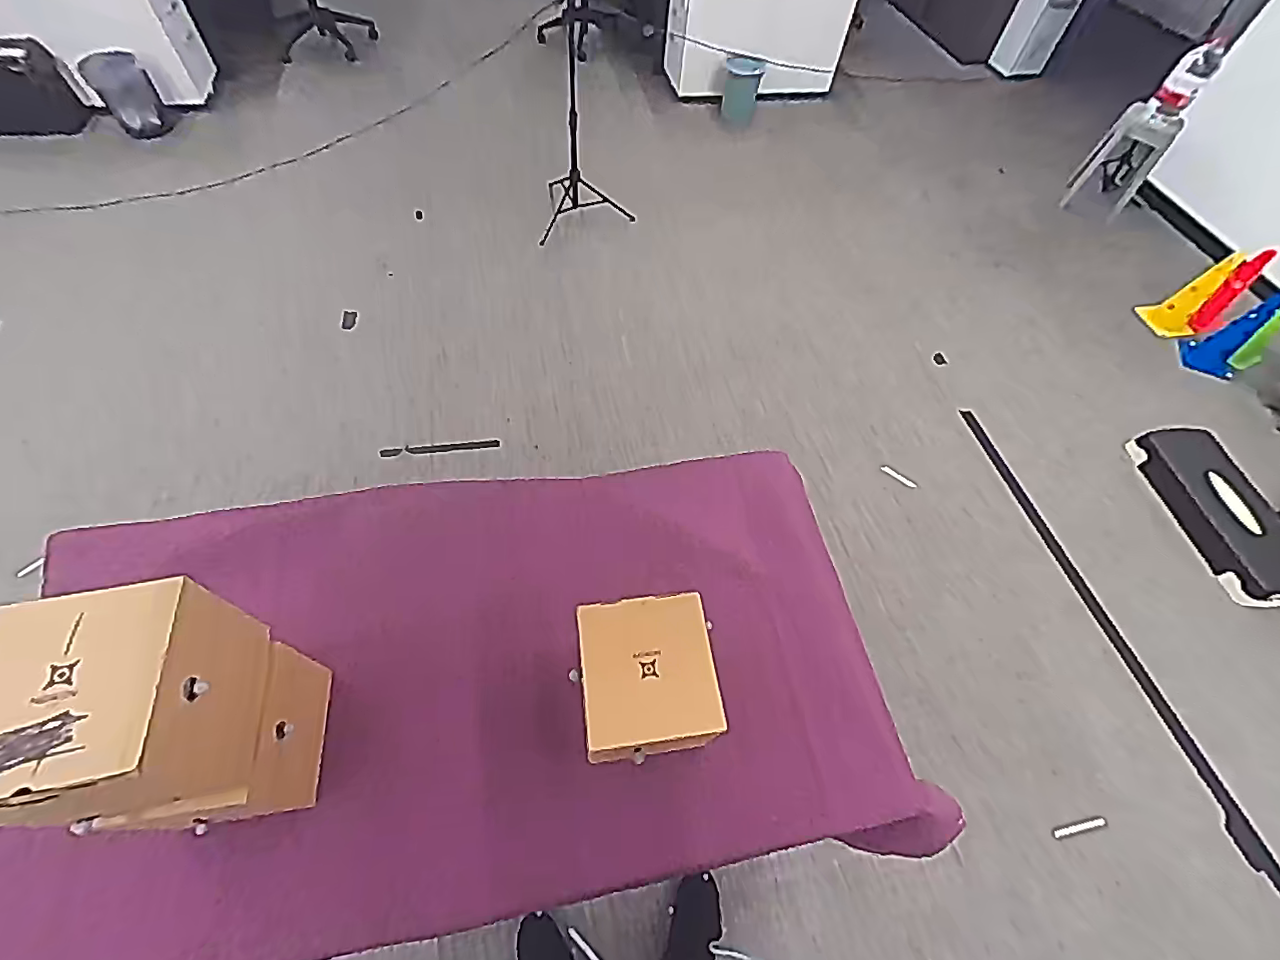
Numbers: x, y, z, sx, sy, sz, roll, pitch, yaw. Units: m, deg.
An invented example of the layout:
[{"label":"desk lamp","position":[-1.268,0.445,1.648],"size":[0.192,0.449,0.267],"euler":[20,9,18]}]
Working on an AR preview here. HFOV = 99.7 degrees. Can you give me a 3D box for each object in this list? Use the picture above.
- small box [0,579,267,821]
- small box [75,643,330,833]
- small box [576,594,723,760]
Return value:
[{"label":"small box","position":[-0.504,0.221,0.534],"size":[0.168,0.176,0.179],"euler":[-9,58,-11]},{"label":"small box","position":[-0.510,0.318,0.667],"size":[0.168,0.176,0.179],"euler":[-5,58,-9]},{"label":"small box","position":[0.004,0.275,0.740],"size":[0.168,0.176,0.179],"euler":[-5,58,-8]}]
